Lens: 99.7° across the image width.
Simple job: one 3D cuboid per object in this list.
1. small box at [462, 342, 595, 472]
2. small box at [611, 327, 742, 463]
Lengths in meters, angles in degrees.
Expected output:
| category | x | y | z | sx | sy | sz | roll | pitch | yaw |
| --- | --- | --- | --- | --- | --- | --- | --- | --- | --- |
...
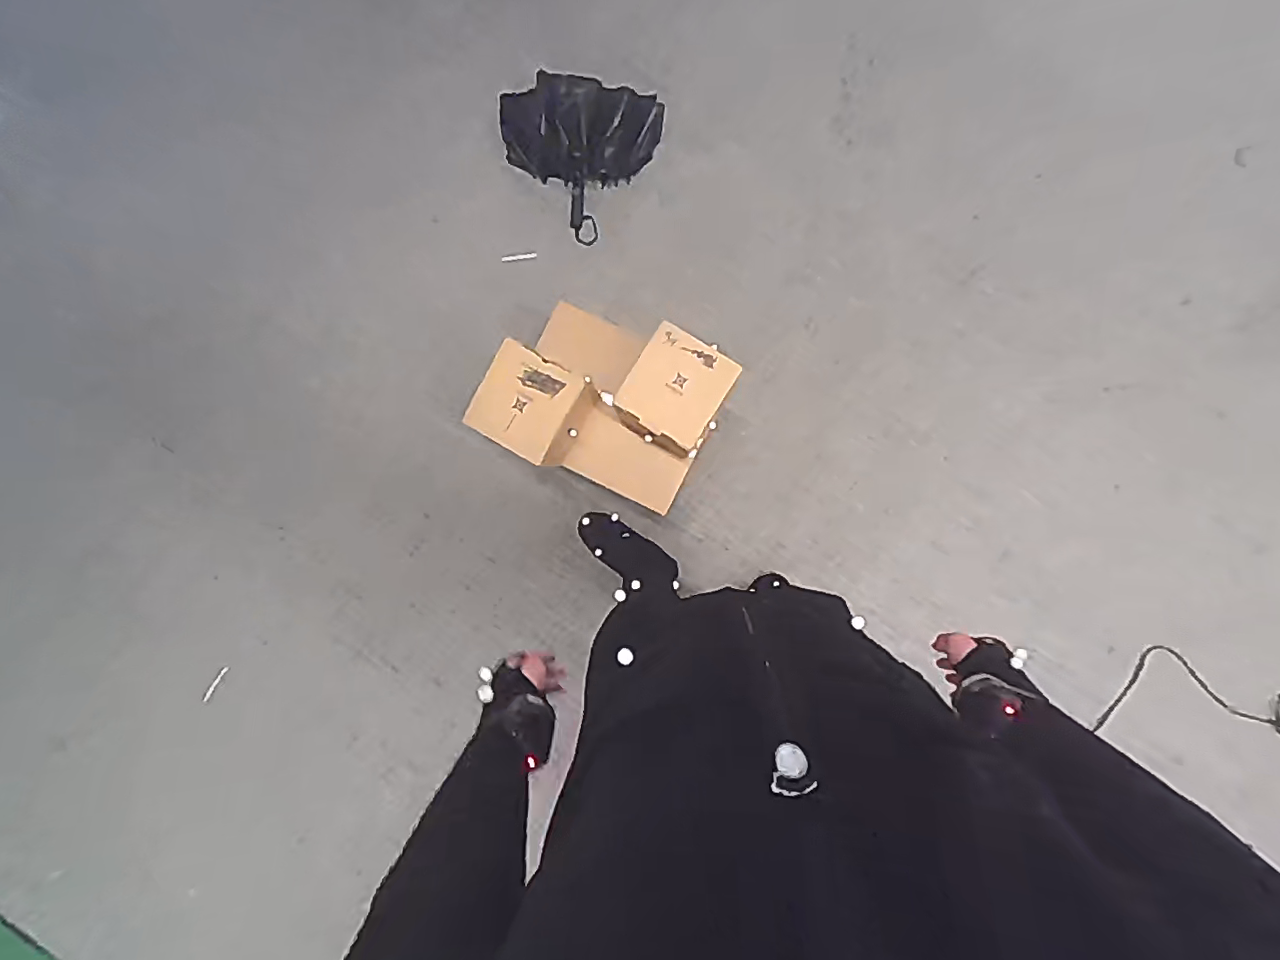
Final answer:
| category | x | y | z | sx | sy | sz | roll | pitch | yaw |
| --- | --- | --- | --- | --- | --- | --- | --- | --- | --- |
| small box | -0.198 | -0.129 | 1.025 | 0.168 | 0.176 | 0.179 | 31 | 92 | 4 |
| small box | 0.068 | -0.147 | 1.012 | 0.168 | 0.176 | 0.179 | 33 | 88 | 4 |
